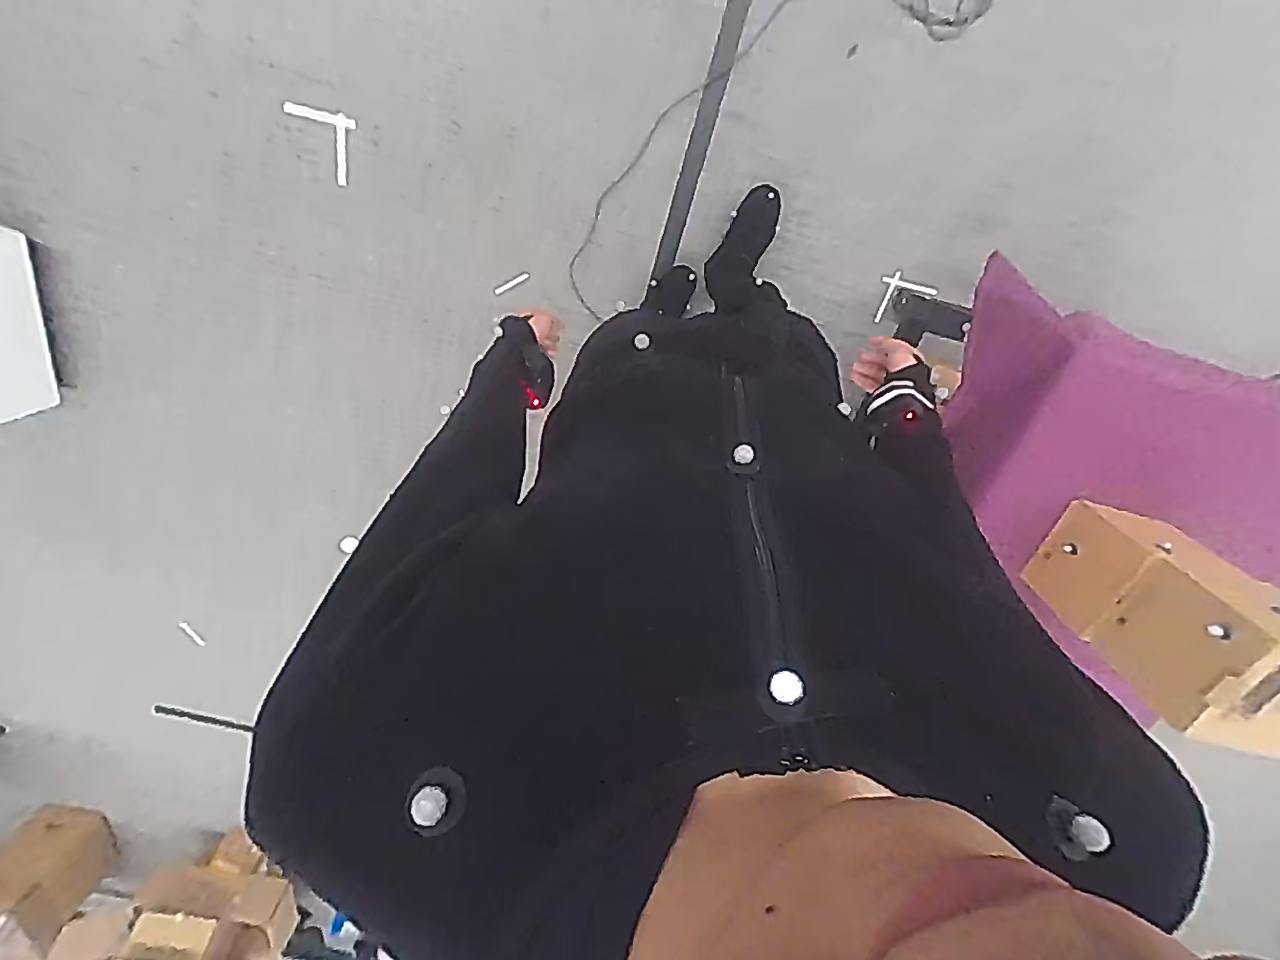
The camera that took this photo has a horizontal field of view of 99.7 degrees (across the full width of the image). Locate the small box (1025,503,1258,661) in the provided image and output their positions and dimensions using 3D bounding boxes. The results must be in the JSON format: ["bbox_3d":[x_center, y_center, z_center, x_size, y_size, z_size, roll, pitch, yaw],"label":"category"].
[{"bbox_3d":[0.784,0.156,0.870,0.179,0.176,0.168,14,117,-4],"label":"small box"}]
